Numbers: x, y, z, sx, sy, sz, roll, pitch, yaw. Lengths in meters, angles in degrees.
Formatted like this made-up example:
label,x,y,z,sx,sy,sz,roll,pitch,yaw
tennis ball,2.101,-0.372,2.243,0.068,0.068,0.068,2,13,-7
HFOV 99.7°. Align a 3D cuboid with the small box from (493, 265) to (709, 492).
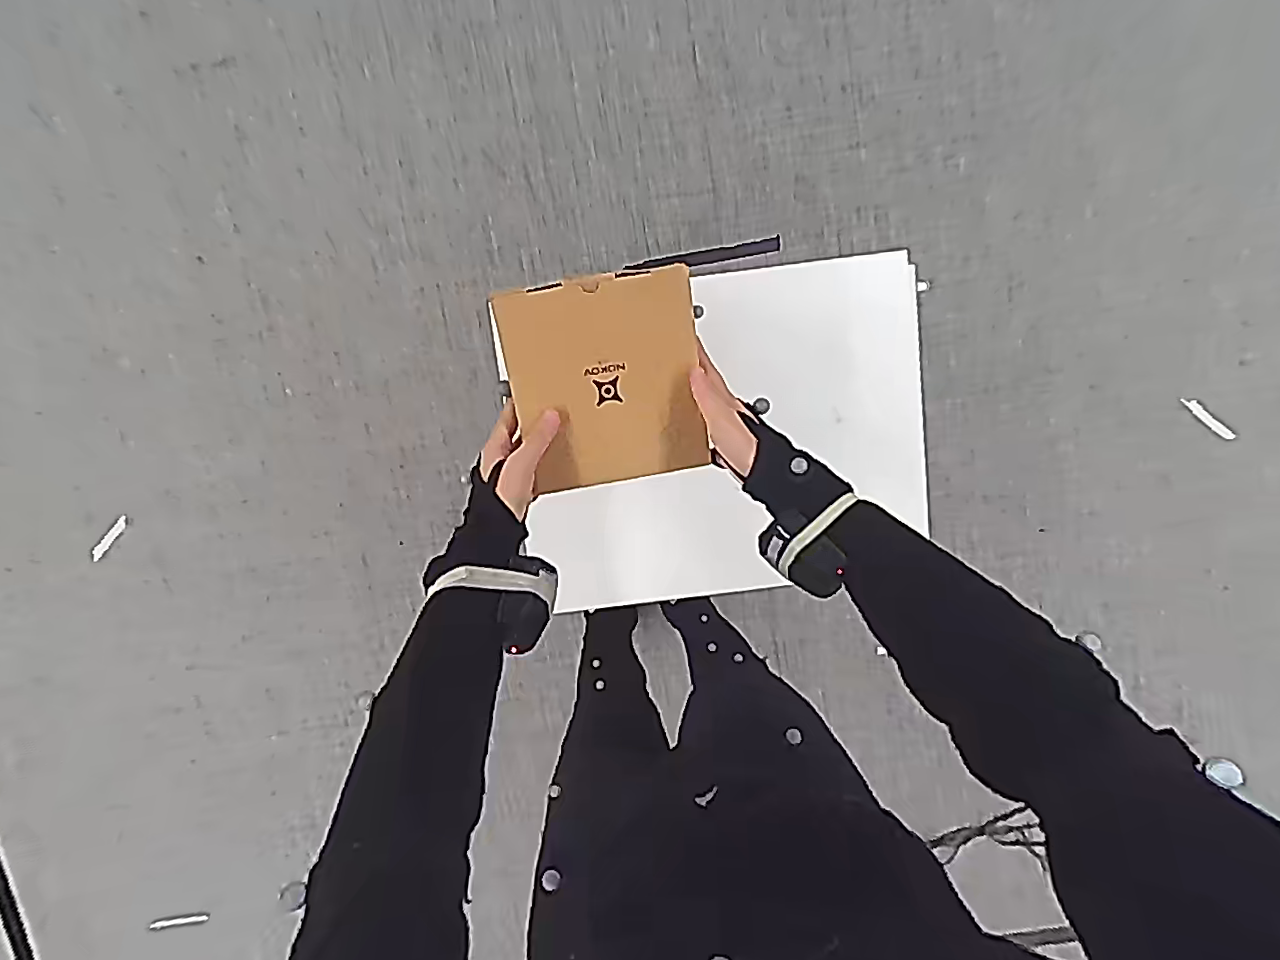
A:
label,x,y,z,sx,sy,sz,roll,pitch,yaw
small box,-0.035,-0.106,0.541,0.168,0.176,0.179,-10,106,-3
